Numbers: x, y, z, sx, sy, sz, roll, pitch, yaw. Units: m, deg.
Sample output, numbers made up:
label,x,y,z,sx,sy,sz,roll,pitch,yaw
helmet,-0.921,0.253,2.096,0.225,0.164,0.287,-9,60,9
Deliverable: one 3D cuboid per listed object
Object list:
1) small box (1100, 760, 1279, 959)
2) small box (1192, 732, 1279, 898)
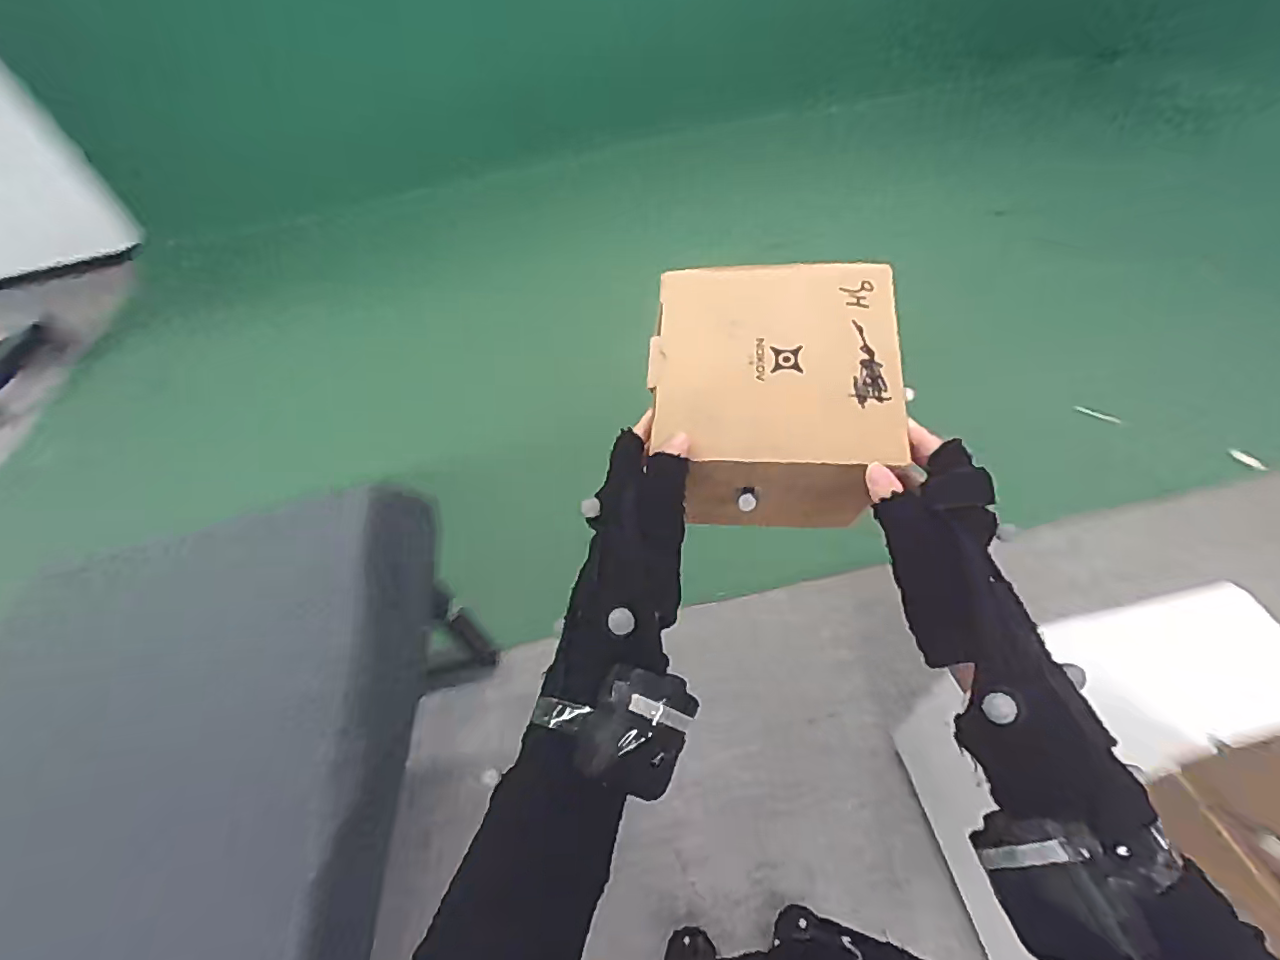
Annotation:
label,x,y,z,sx,sy,sz,roll,pitch,yaw
small box,0.641,0.377,0.551,0.179,0.176,0.168,-16,50,-1
small box,0.623,0.273,0.425,0.179,0.176,0.168,-16,51,-5
